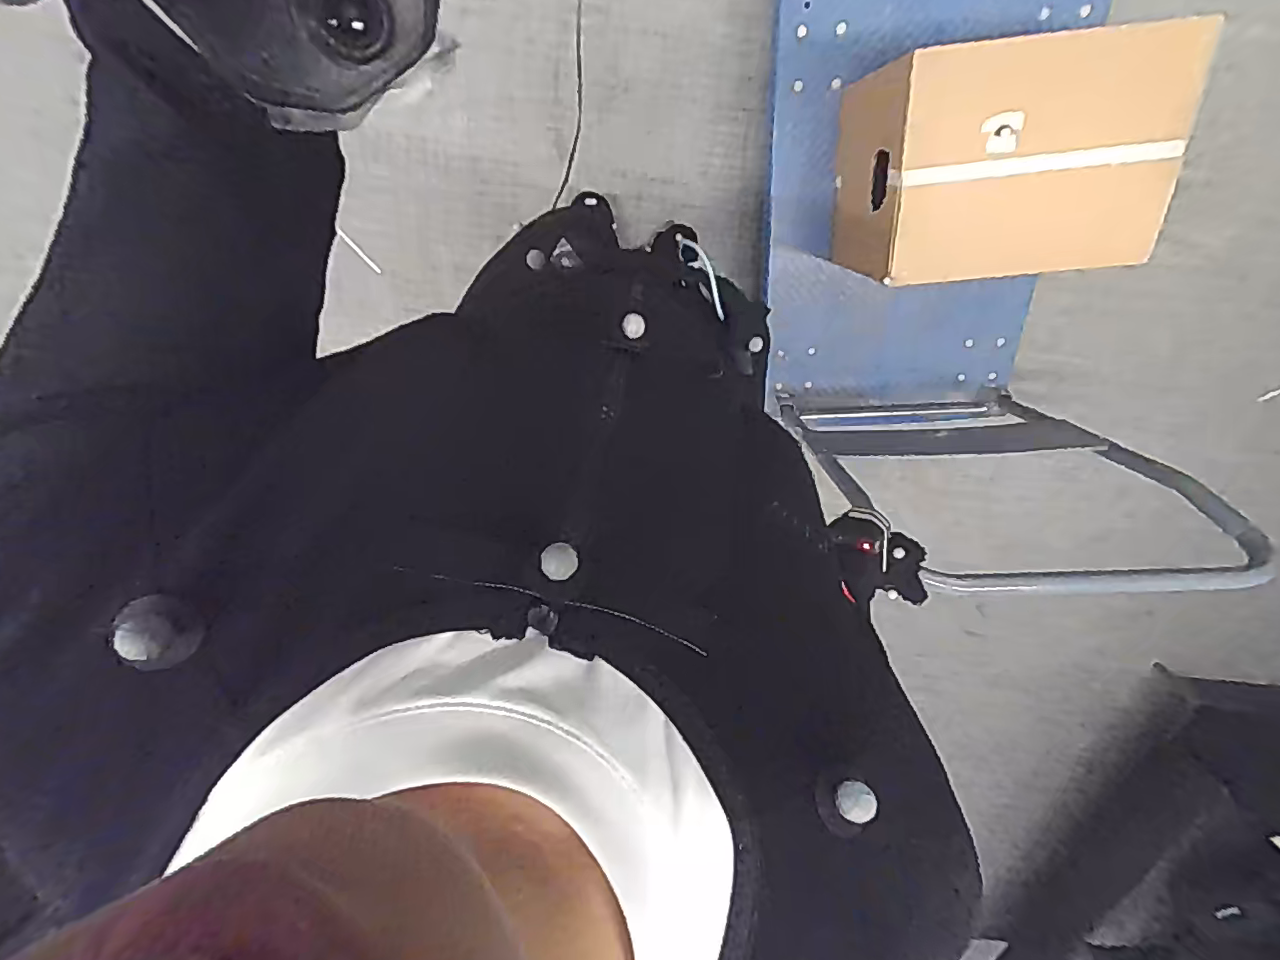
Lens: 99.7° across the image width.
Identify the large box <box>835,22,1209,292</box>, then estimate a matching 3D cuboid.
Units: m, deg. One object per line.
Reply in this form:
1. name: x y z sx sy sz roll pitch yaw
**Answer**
1. large box: 0.592 -0.532 0.940 0.408 0.320 0.320 -4 117 4
